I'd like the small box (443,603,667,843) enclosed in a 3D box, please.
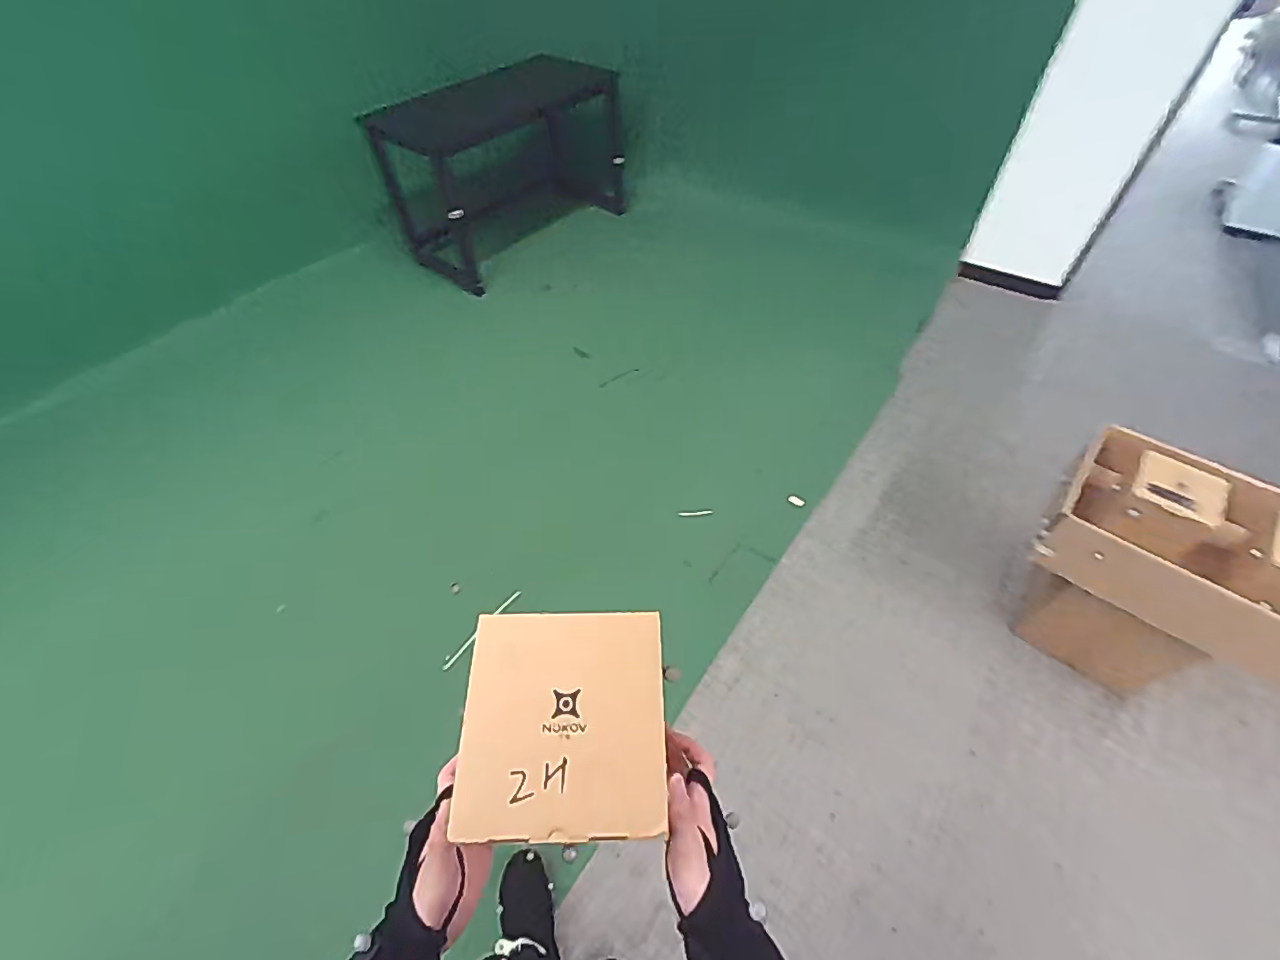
[{"bbox_3d":[-0.062,0.229,0.502,0.168,0.176,0.179,0,55,0],"label":"small box"}]

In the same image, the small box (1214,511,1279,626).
[{"bbox_3d":[1.439,0.198,1.194,0.168,0.176,0.179,34,61,26],"label":"small box"}]
